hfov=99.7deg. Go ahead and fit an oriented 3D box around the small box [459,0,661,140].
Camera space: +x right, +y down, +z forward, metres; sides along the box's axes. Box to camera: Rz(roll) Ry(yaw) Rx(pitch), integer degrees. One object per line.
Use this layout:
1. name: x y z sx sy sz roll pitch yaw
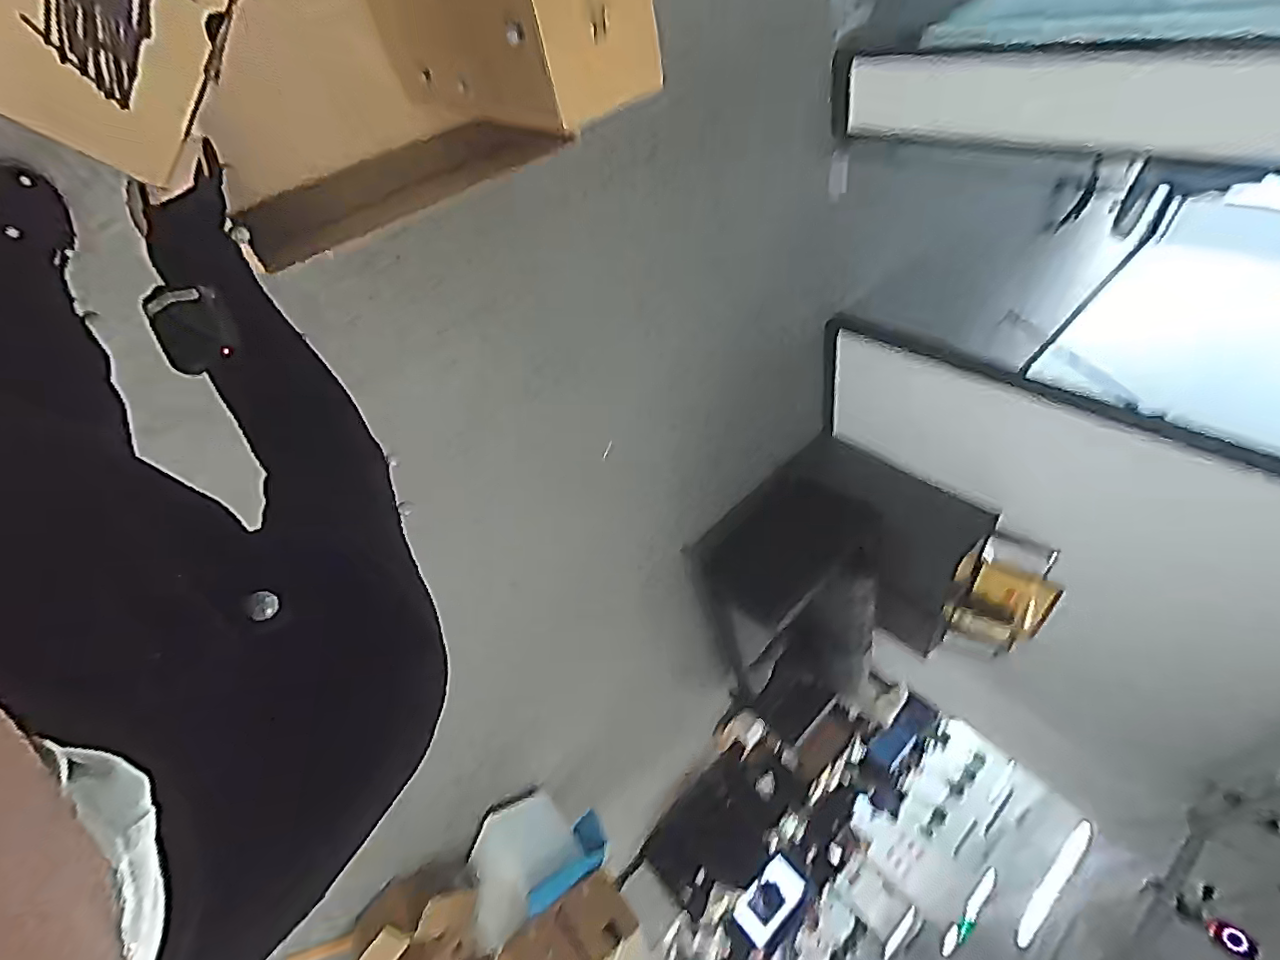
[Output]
1. small box: -0.099 -0.552 0.665 0.168 0.176 0.179 -38 141 -20
